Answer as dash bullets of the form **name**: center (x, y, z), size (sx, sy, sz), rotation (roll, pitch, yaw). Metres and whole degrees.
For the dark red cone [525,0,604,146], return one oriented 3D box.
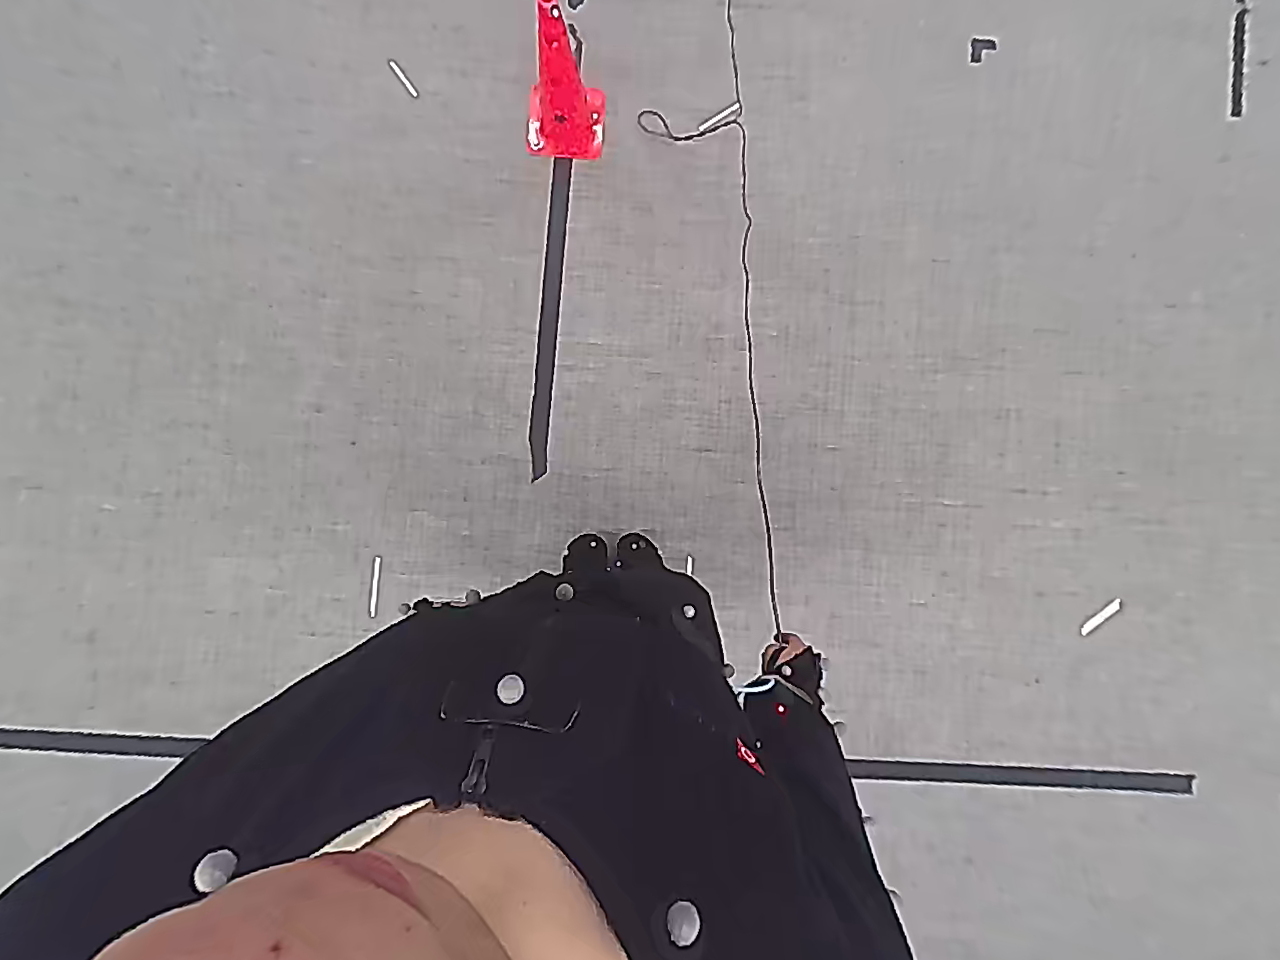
- **dark red cone**: center (-0.190, -0.983, 1.250), size (0.201, 0.394, 0.202), rotation (3, 87, -2)
